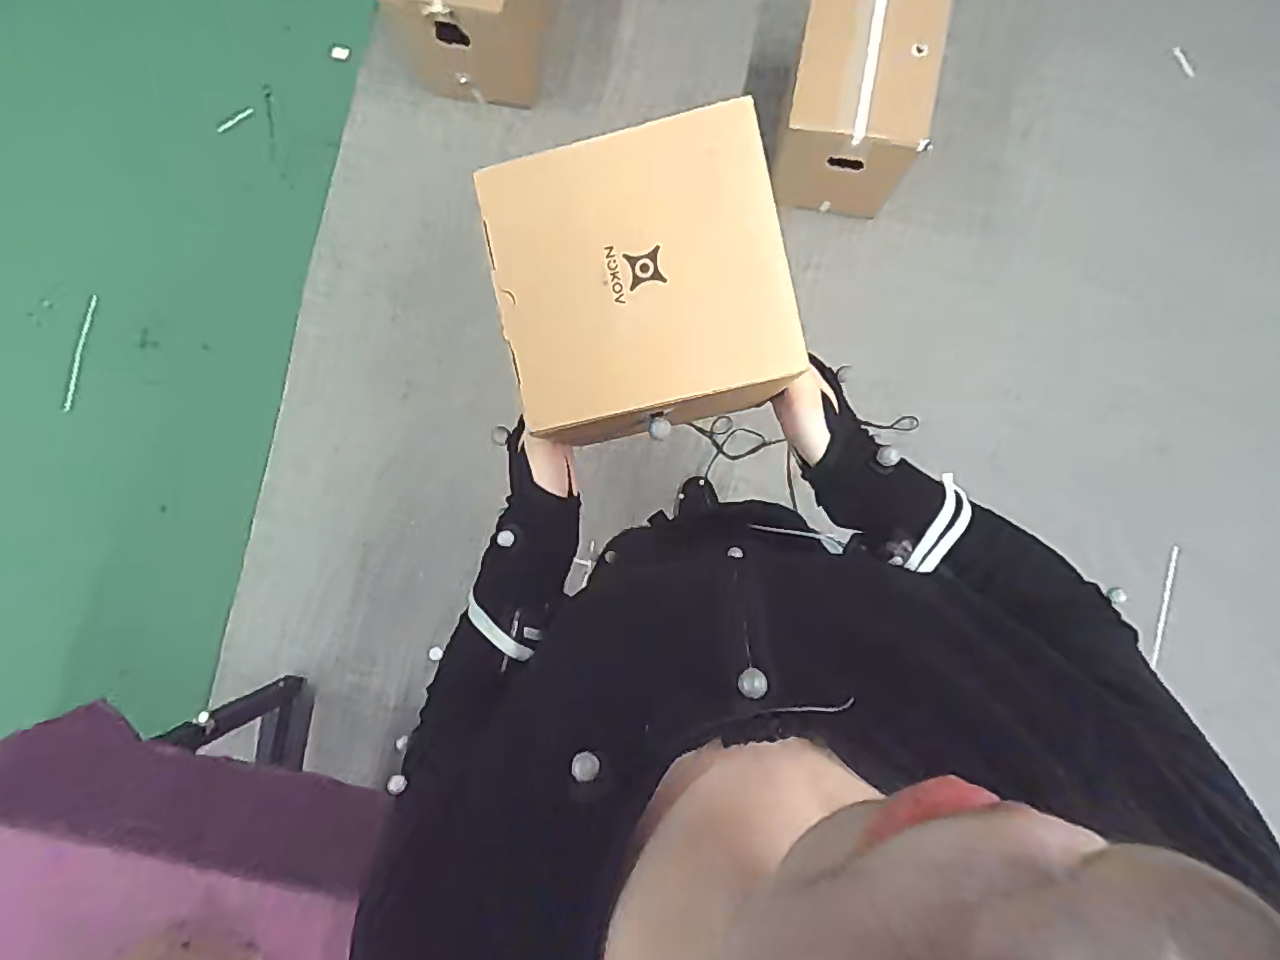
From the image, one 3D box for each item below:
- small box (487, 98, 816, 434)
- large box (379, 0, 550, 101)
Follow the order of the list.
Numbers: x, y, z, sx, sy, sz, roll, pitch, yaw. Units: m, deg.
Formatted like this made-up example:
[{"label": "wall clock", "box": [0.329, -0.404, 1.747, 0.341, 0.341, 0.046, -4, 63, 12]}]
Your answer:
[{"label": "small box", "box": [0.012, -0.132, 0.404, 0.179, 0.176, 0.168, -12, 91, 6]}, {"label": "large box", "box": [-0.439, -1.312, 1.431, 0.320, 0.320, 0.408, 11, 88, 4]}]
